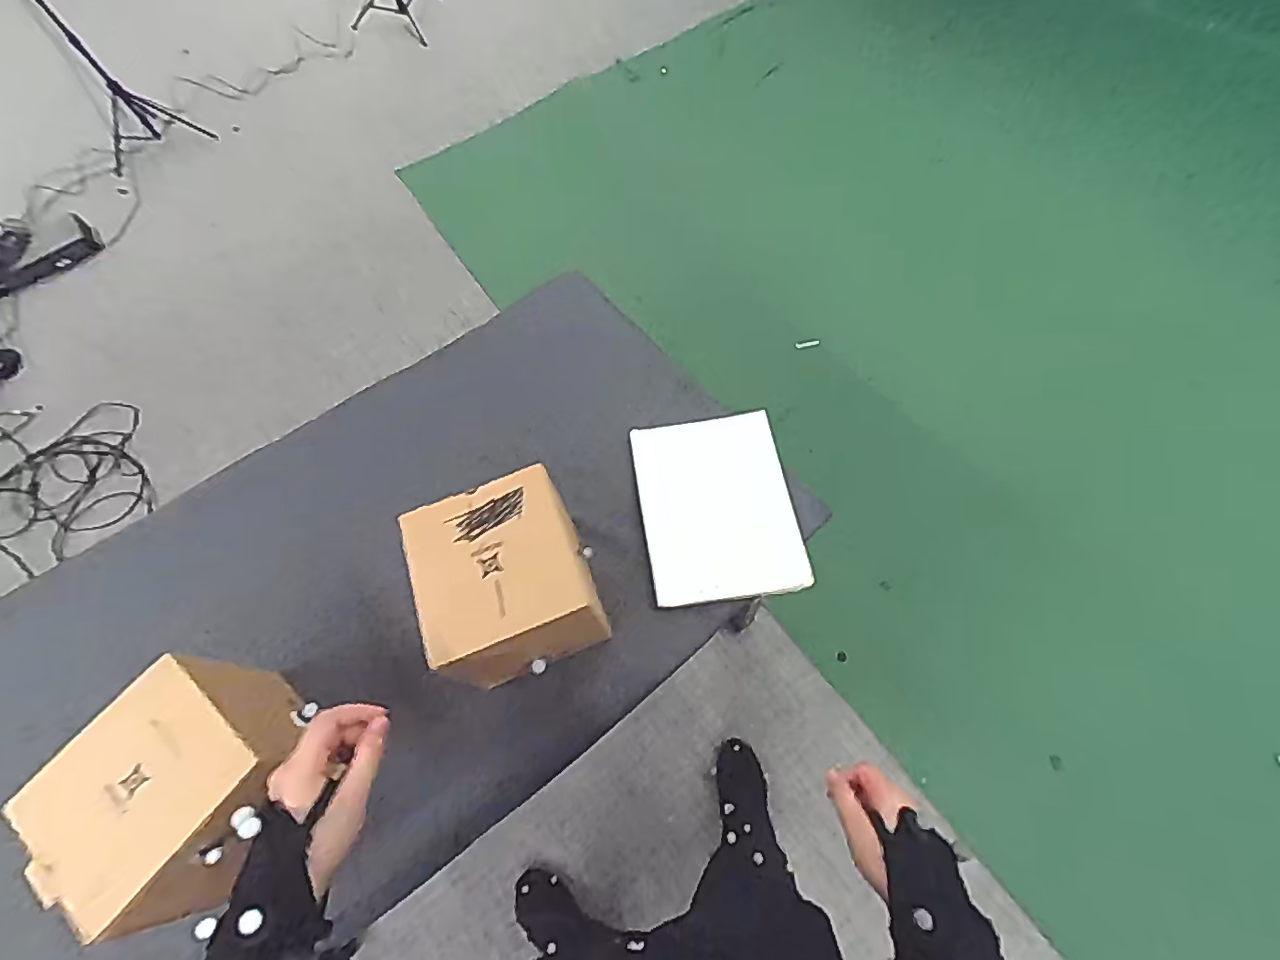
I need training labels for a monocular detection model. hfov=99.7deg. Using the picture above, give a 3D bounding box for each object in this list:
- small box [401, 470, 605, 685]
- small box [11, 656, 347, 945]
[{"bbox_3d":[-0.152,0.121,0.637,0.168,0.176,0.179,-22,64,-5],"label":"small box"},{"bbox_3d":[-0.460,0.319,0.571,0.168,0.176,0.179,33,70,18],"label":"small box"}]
